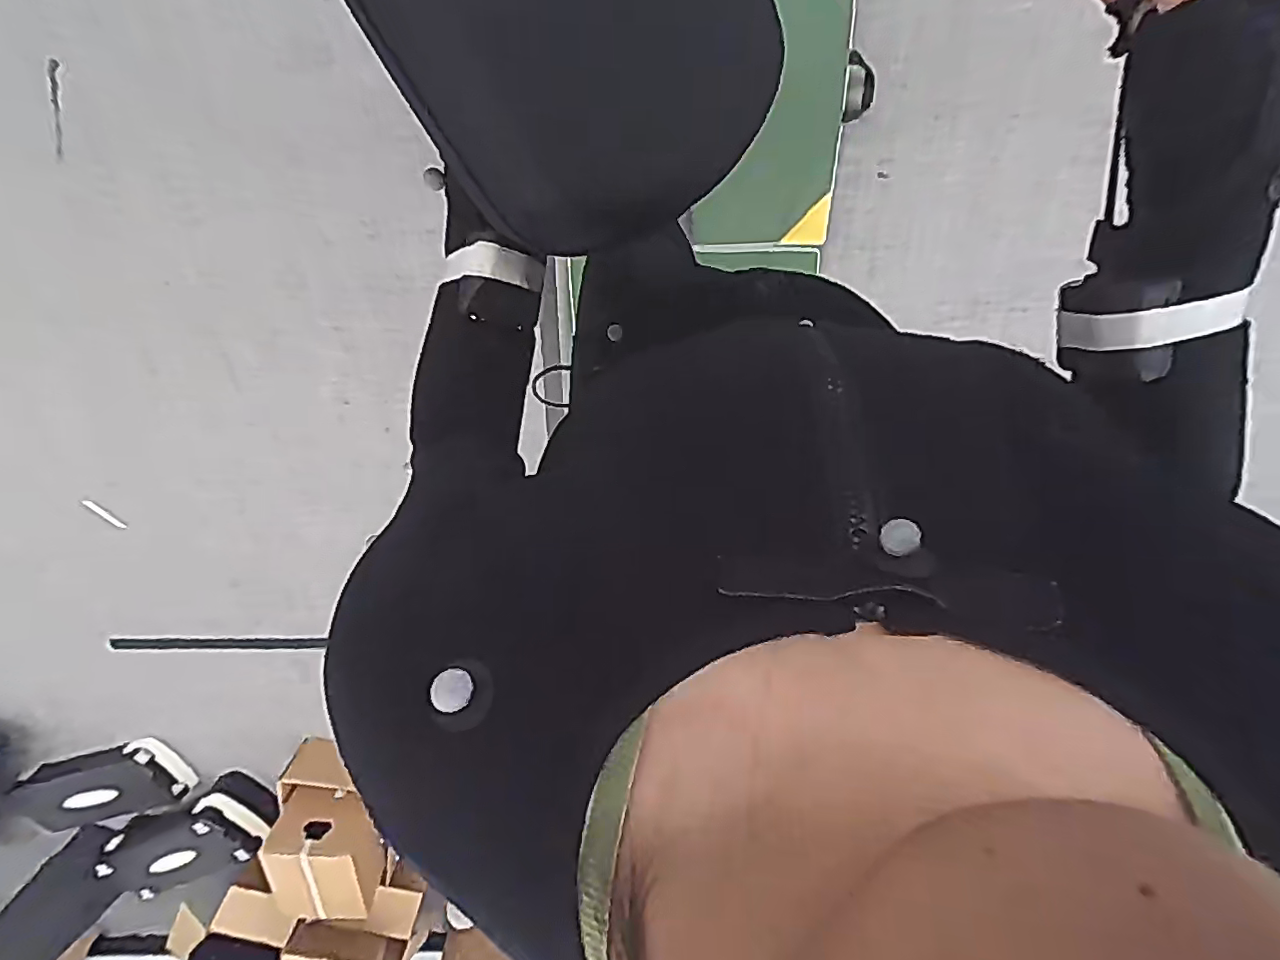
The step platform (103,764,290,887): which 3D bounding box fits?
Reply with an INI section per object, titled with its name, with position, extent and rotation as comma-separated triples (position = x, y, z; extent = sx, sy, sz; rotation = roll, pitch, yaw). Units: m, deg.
[step platform]
position = -1.814, 1.419, 2.212
extent = 0.684, 0.204, 0.286
rotation = -27, 114, 12
